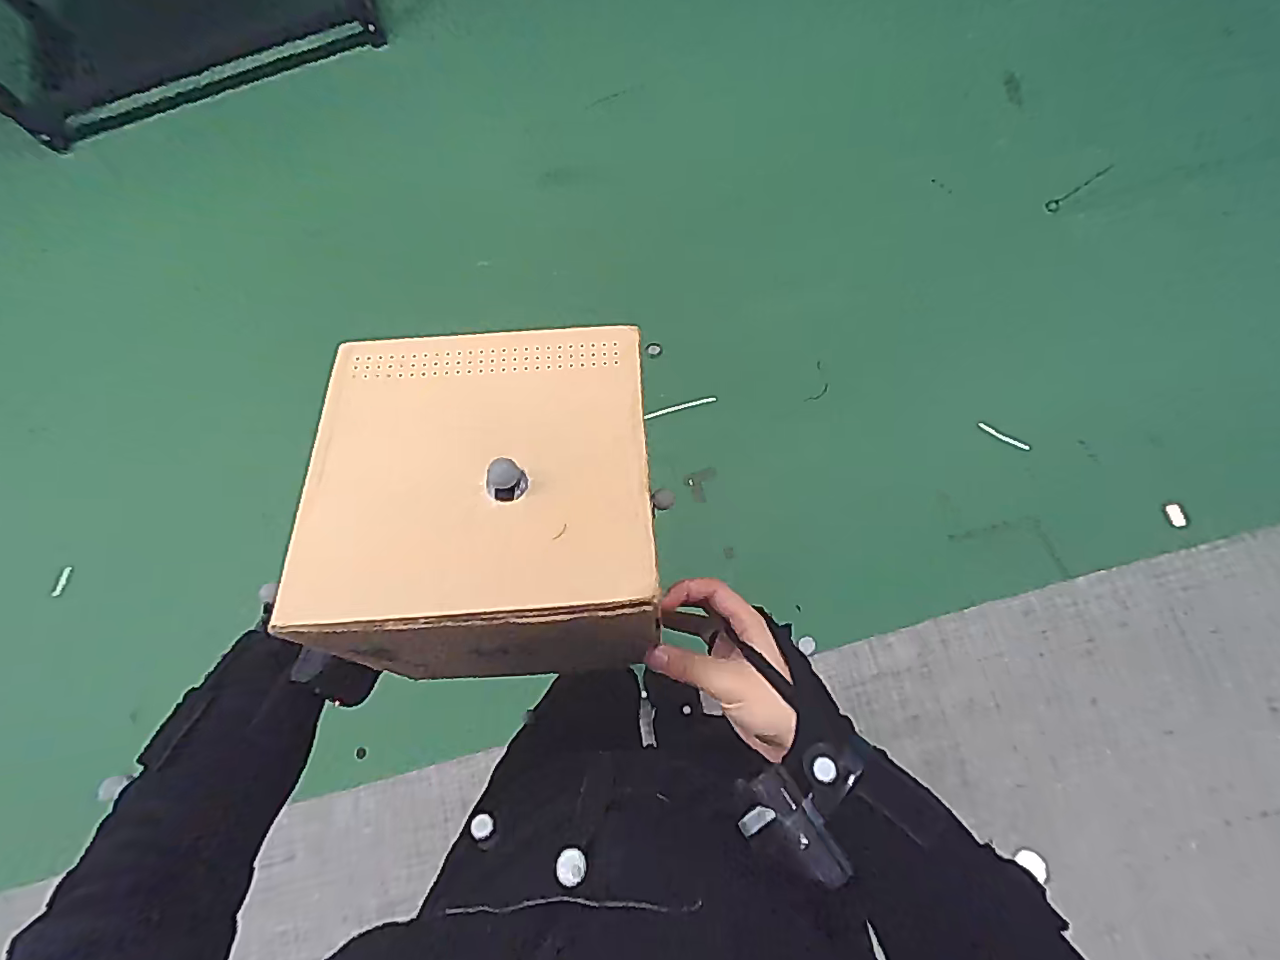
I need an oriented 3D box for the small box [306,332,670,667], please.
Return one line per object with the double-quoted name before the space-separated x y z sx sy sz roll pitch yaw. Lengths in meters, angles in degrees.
"small box" -0.078 0.018 0.361 0.179 0.168 0.176 -4 62 -1
